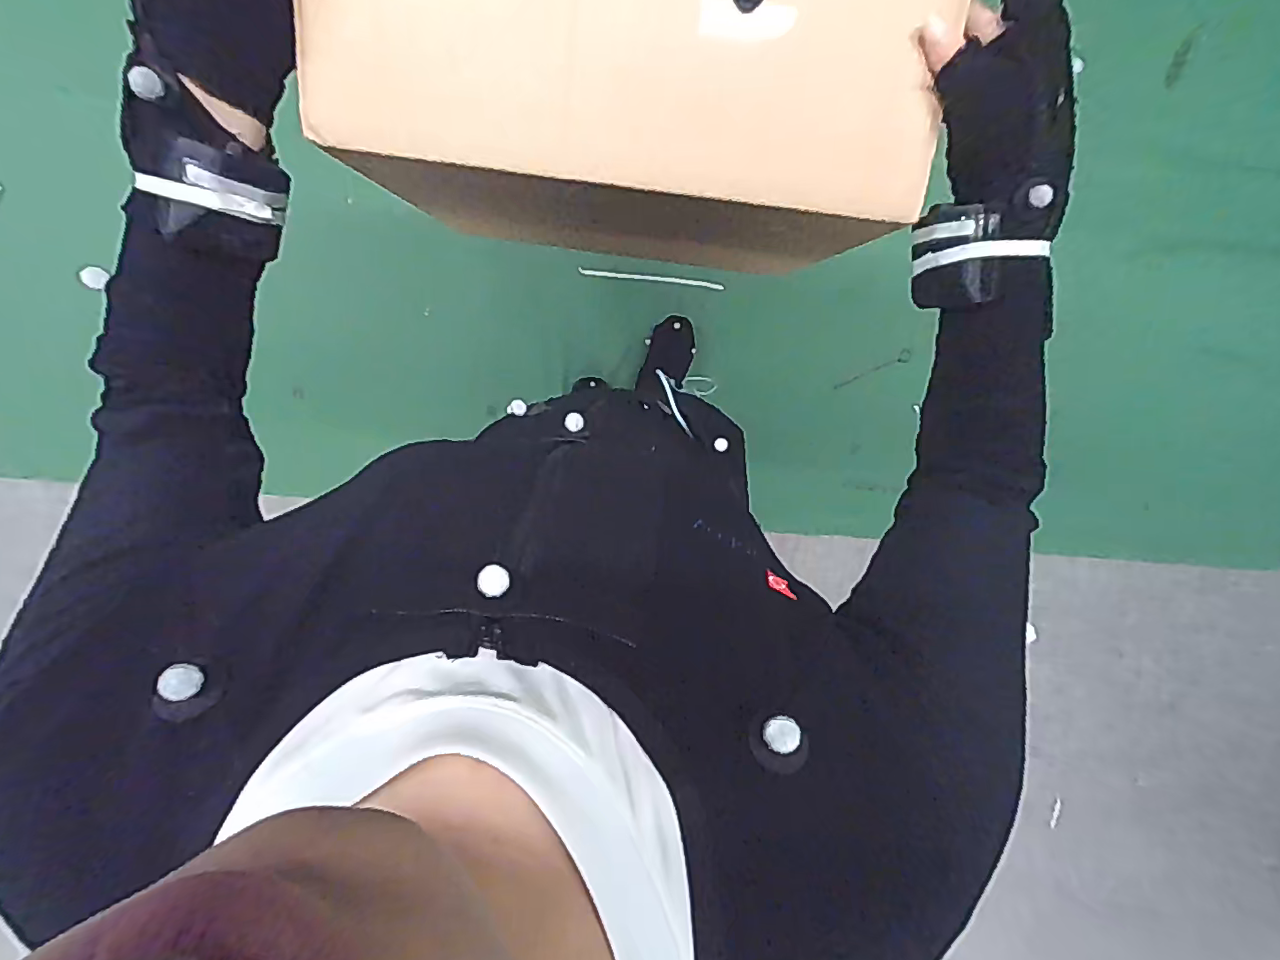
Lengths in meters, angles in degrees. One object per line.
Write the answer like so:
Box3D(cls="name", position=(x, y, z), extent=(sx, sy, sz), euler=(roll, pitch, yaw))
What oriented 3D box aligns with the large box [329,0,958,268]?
Box3D(cls="large box", position=(0.005, -0.387, 0.474), extent=(0.408, 0.320, 0.320), euler=(6, 105, -3))
